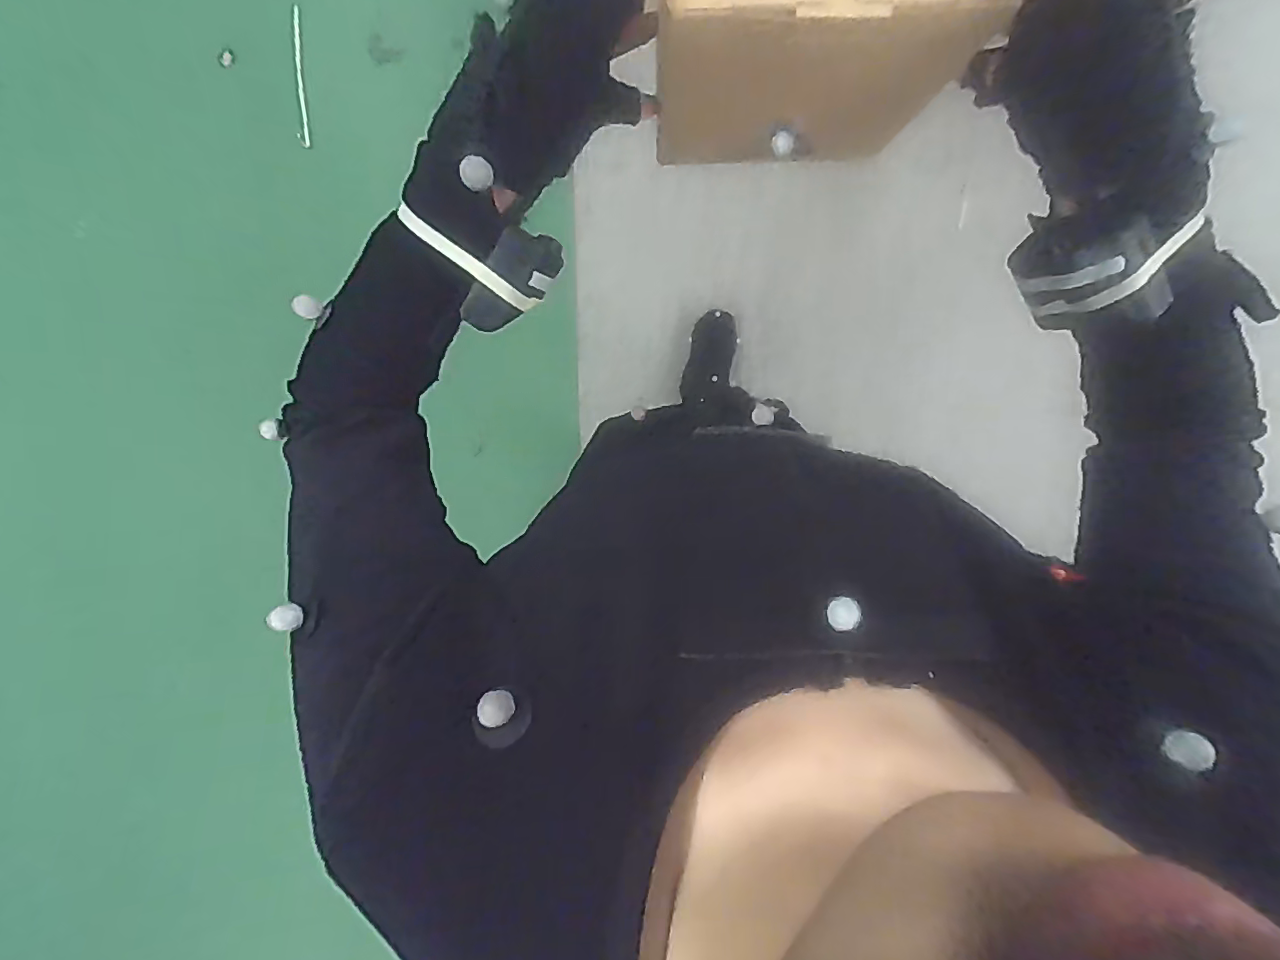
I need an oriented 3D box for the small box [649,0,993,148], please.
[{"bbox_3d":[0.088,-0.320,0.306,0.168,0.176,0.179,-1,98,2],"label":"small box"}]
